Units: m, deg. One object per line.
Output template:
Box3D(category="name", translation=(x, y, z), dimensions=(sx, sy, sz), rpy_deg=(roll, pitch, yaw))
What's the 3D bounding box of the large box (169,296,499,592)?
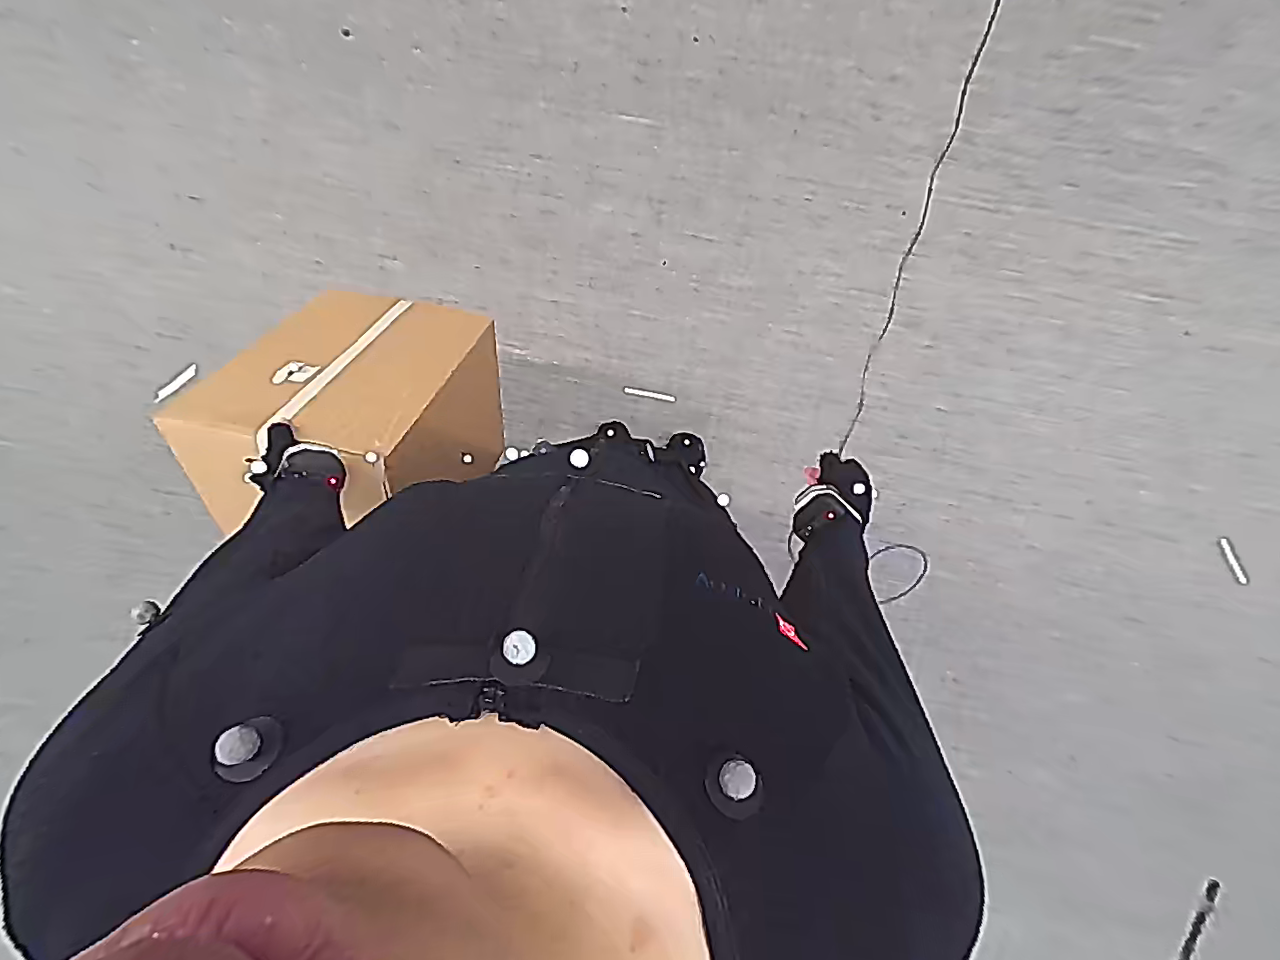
Box3D(category="large box", translation=(-0.467, -0.074, 0.956), dimensions=(0.320, 0.408, 0.320), rpy_deg=(10, 134, 3))
